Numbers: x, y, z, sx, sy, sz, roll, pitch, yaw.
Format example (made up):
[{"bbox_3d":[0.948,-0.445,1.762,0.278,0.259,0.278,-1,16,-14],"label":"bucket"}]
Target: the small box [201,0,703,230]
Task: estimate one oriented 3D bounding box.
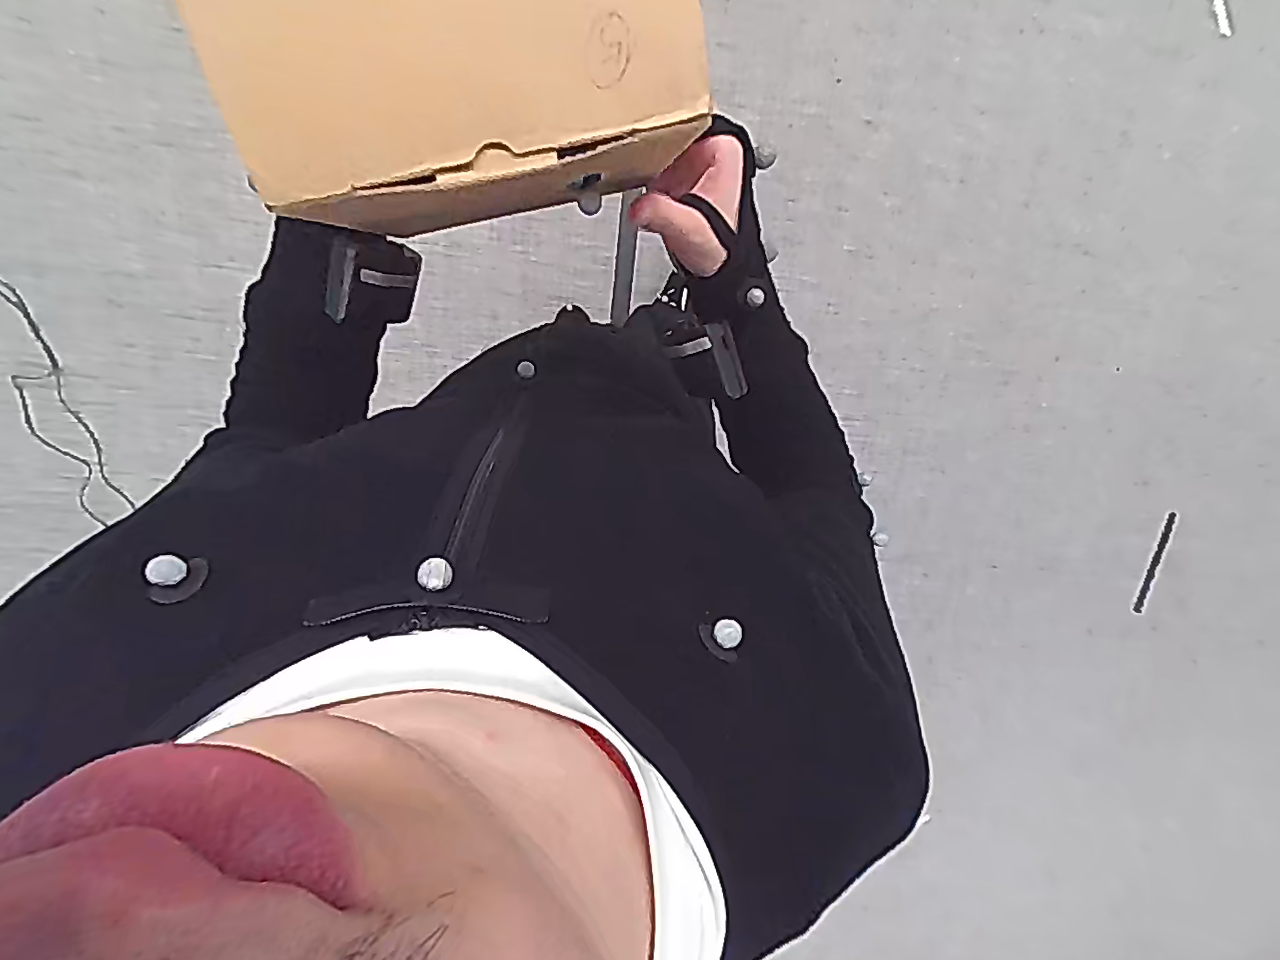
[{"bbox_3d":[-0.080,-0.223,0.248,0.168,0.176,0.179,-14,112,-4],"label":"small box"}]
